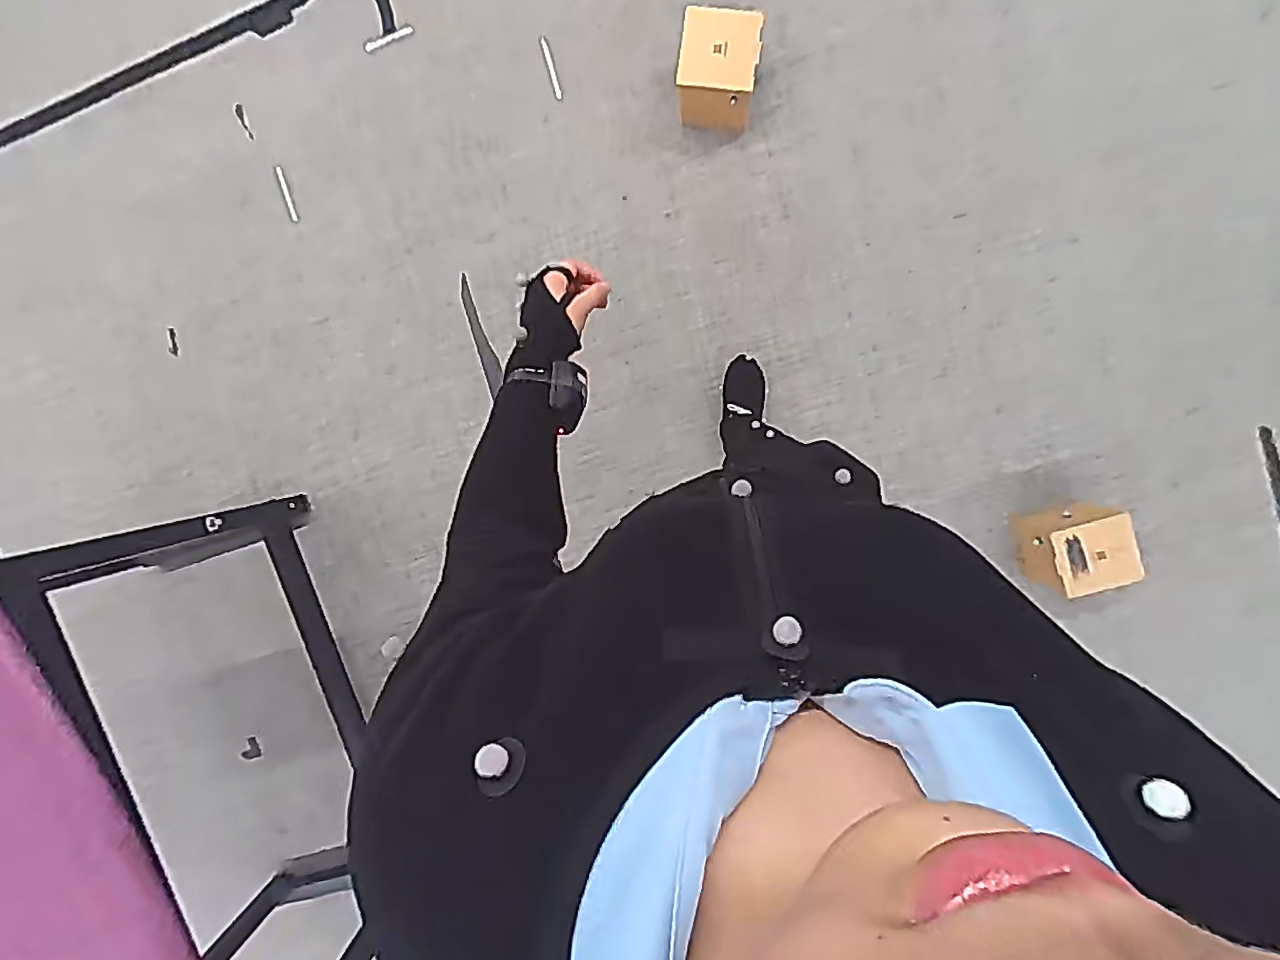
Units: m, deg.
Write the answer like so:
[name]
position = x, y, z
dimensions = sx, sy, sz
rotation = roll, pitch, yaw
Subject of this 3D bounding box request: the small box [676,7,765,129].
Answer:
[small box]
position = 0.186, -0.964, 1.279
dimensions = 0.179, 0.176, 0.168
rotation = 9, 97, 4
